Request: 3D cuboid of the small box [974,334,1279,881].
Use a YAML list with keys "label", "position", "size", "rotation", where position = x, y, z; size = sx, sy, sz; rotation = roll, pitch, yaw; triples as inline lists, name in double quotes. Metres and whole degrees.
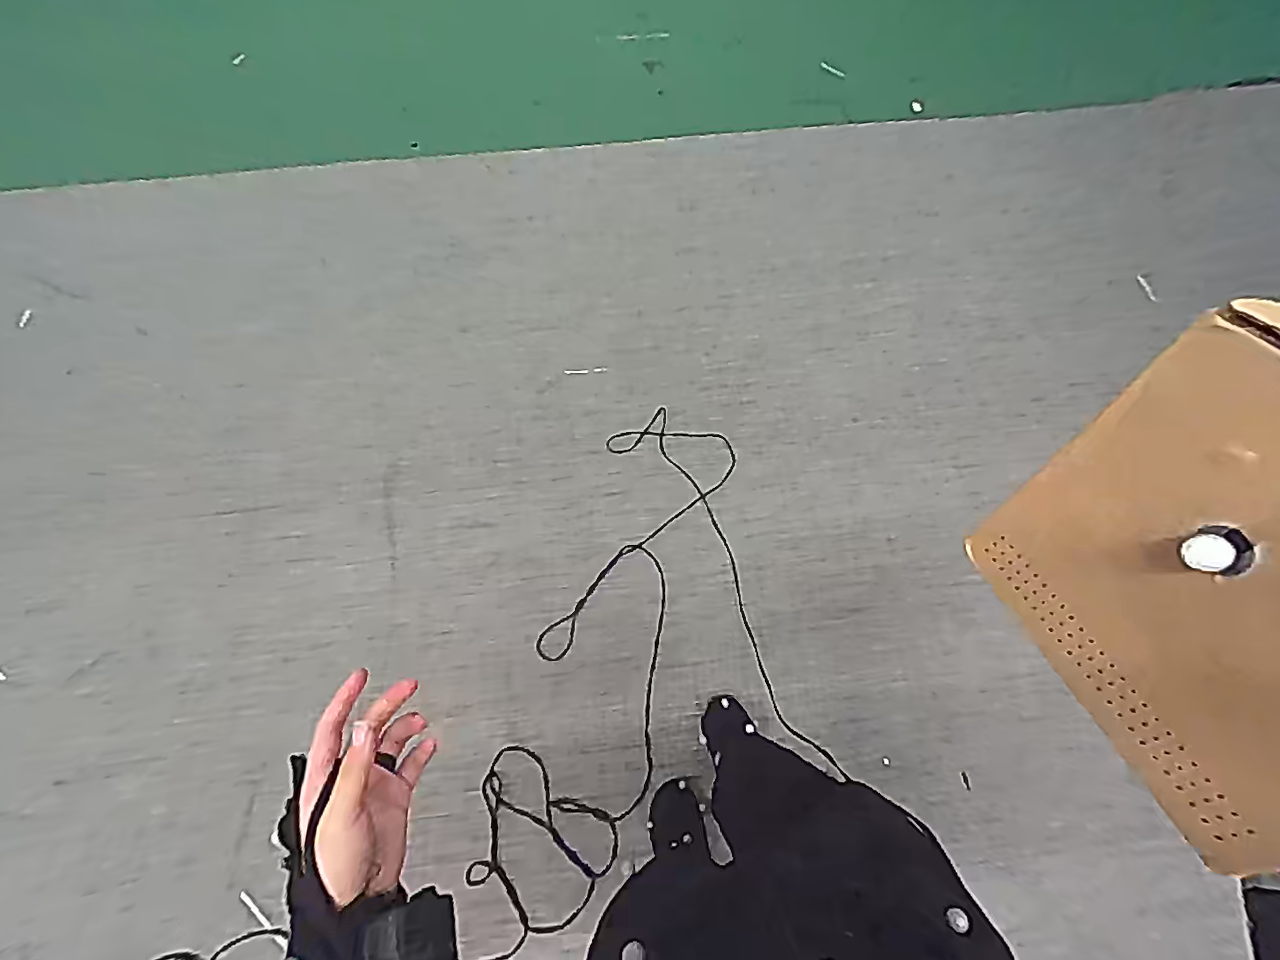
- label: "small box"
  position: [0.312, 0.050, 0.254]
  size: [0.168, 0.176, 0.179]
  rotation: [-6, 49, -19]
